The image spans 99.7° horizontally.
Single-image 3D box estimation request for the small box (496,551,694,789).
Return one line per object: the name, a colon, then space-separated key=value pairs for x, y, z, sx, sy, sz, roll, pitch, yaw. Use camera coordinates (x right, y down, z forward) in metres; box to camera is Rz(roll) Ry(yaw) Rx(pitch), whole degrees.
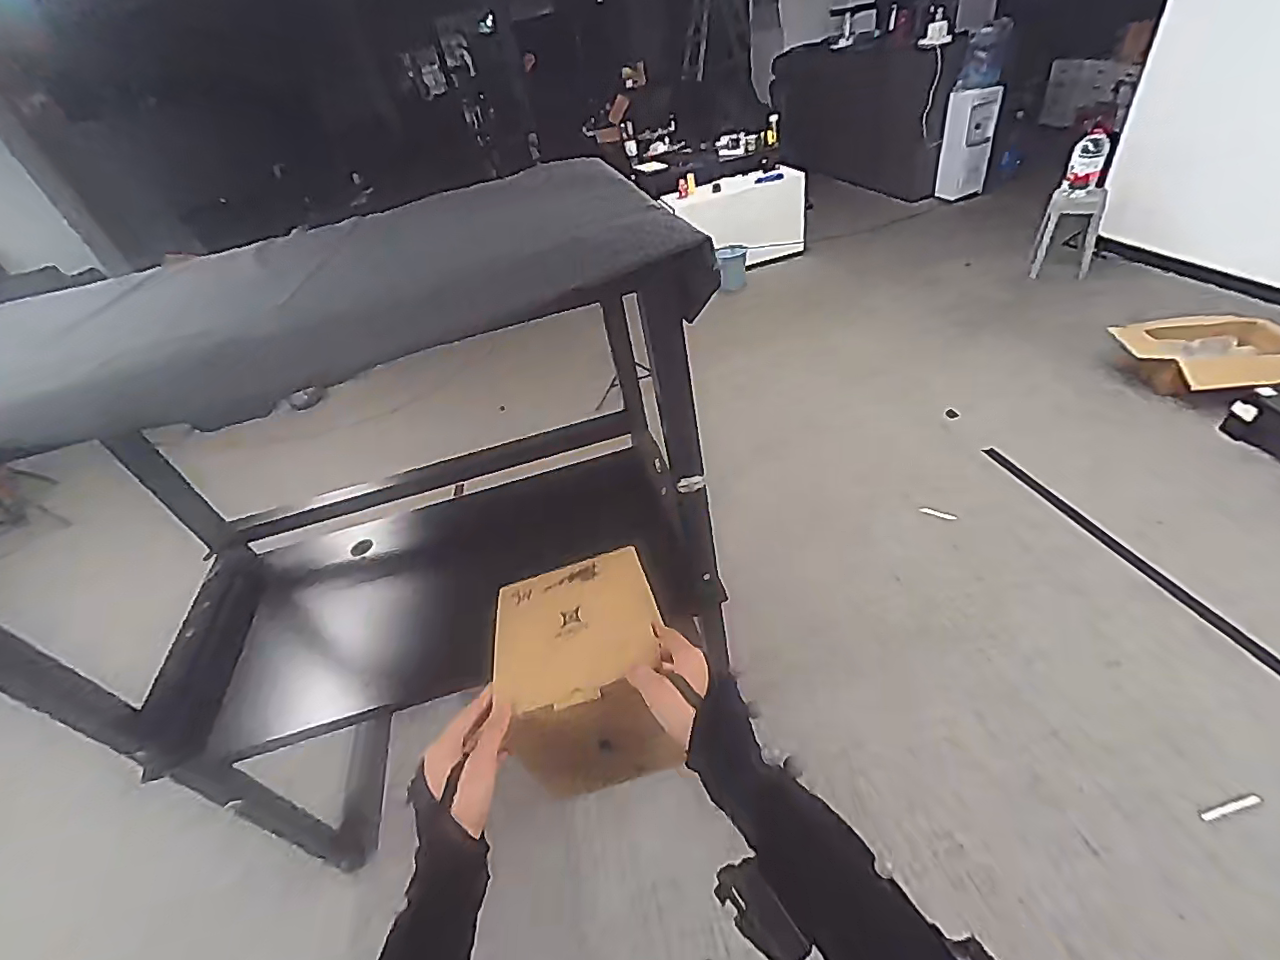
small box: x=-0.047 y=0.217 z=0.607 sx=0.168 sy=0.176 sz=0.179 roll=-18 pitch=35 yaw=1
